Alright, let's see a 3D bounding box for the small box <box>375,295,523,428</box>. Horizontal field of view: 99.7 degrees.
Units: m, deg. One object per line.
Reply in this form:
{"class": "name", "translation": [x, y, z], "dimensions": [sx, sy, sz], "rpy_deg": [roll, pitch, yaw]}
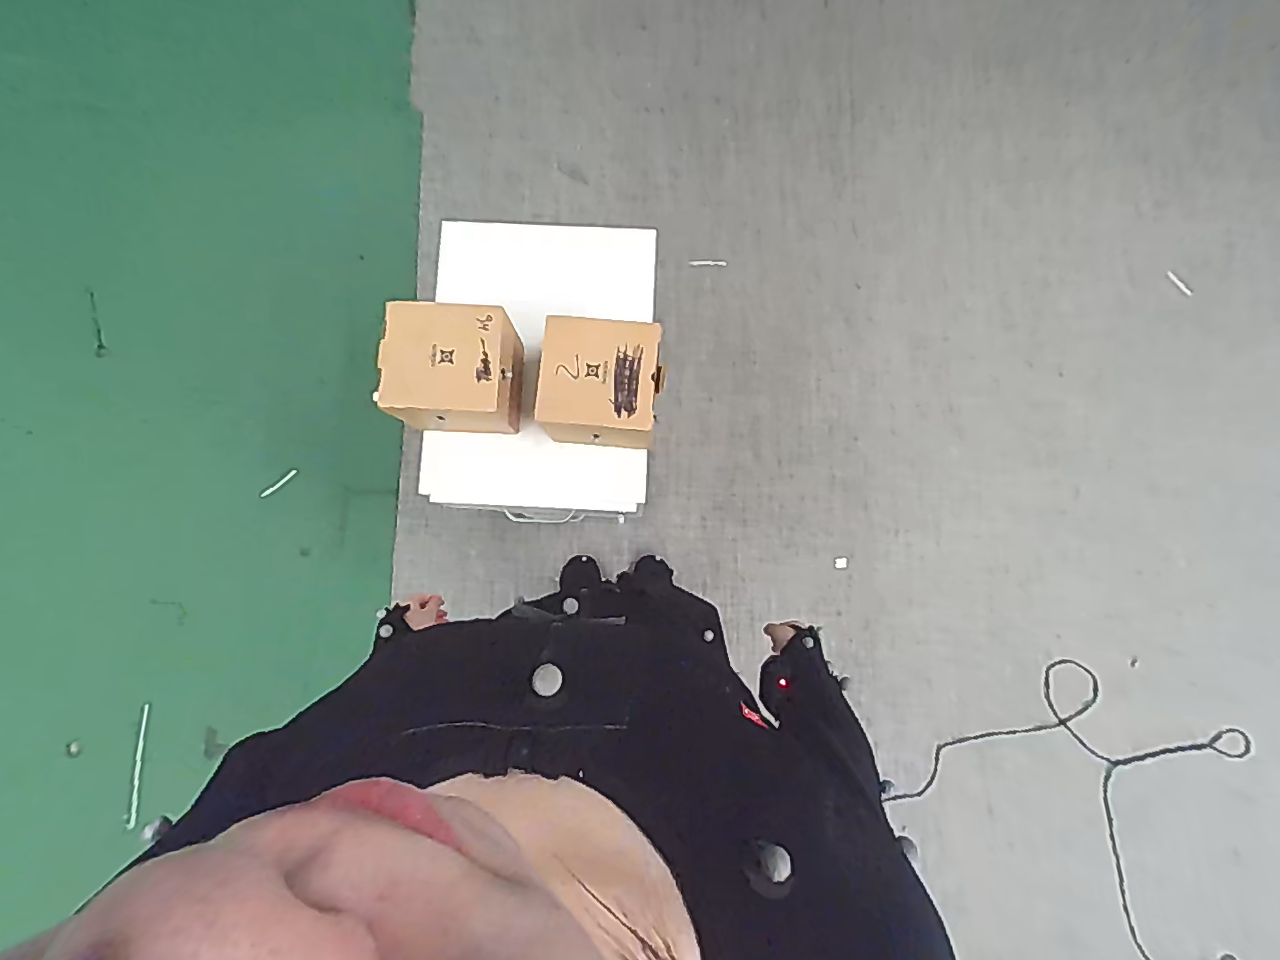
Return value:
{"class": "small box", "translation": [-0.298, -0.182, 0.875], "dimensions": [0.179, 0.176, 0.168], "rpy_deg": [2, 84, -1]}
